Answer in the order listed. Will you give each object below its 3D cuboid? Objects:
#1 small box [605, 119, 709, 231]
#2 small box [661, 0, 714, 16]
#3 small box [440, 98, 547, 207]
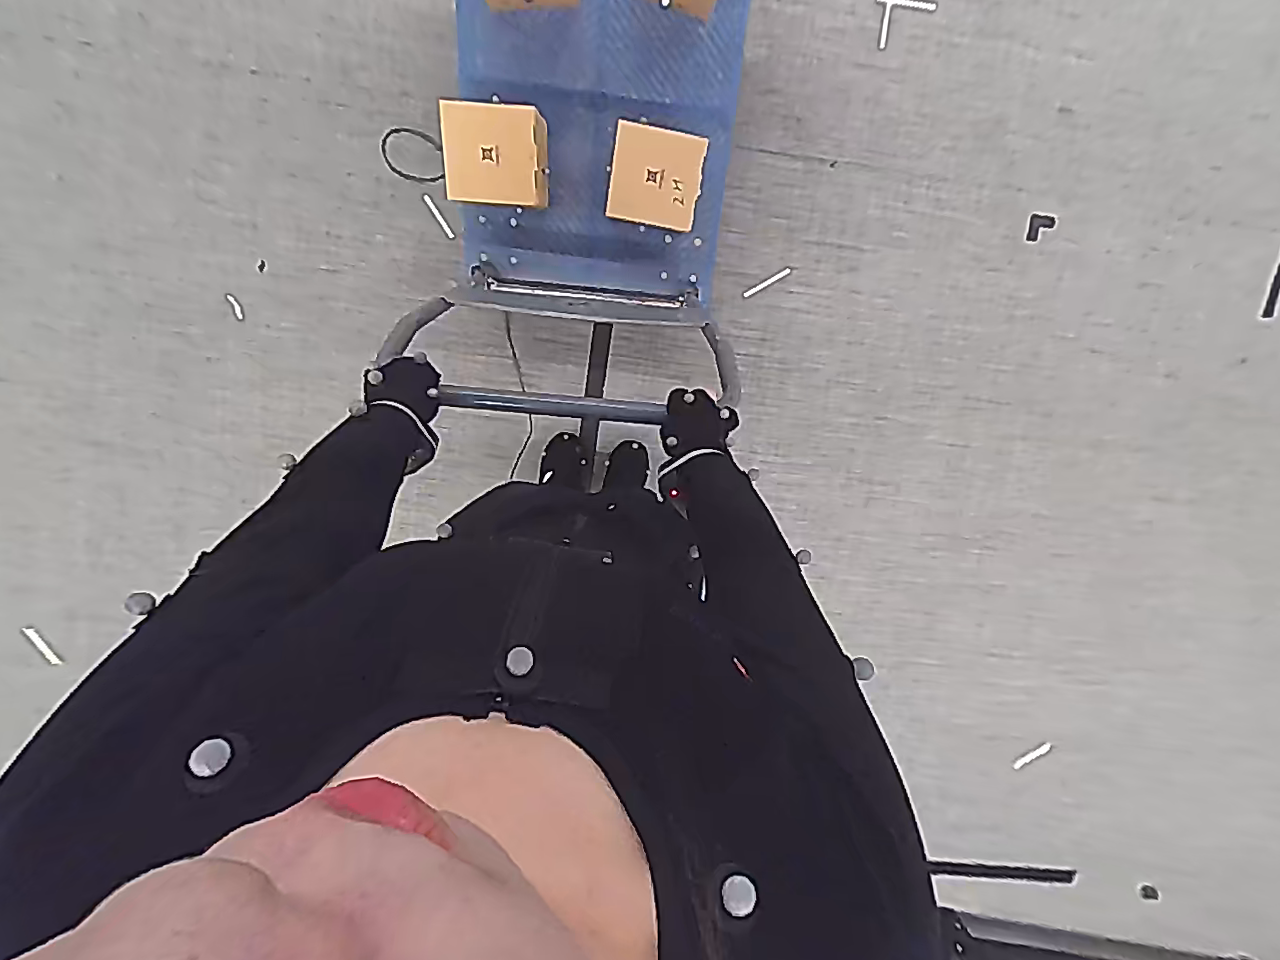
[{"bbox_3d":[0.029,-0.617,1.113,0.179,0.176,0.168,9,115,-6],"label":"small box"},{"bbox_3d":[0.082,-0.973,0.949,0.168,0.176,0.179,14,115,-8],"label":"small box"},{"bbox_3d":[-0.286,-0.649,1.090,0.179,0.176,0.168,1,115,-4],"label":"small box"}]
